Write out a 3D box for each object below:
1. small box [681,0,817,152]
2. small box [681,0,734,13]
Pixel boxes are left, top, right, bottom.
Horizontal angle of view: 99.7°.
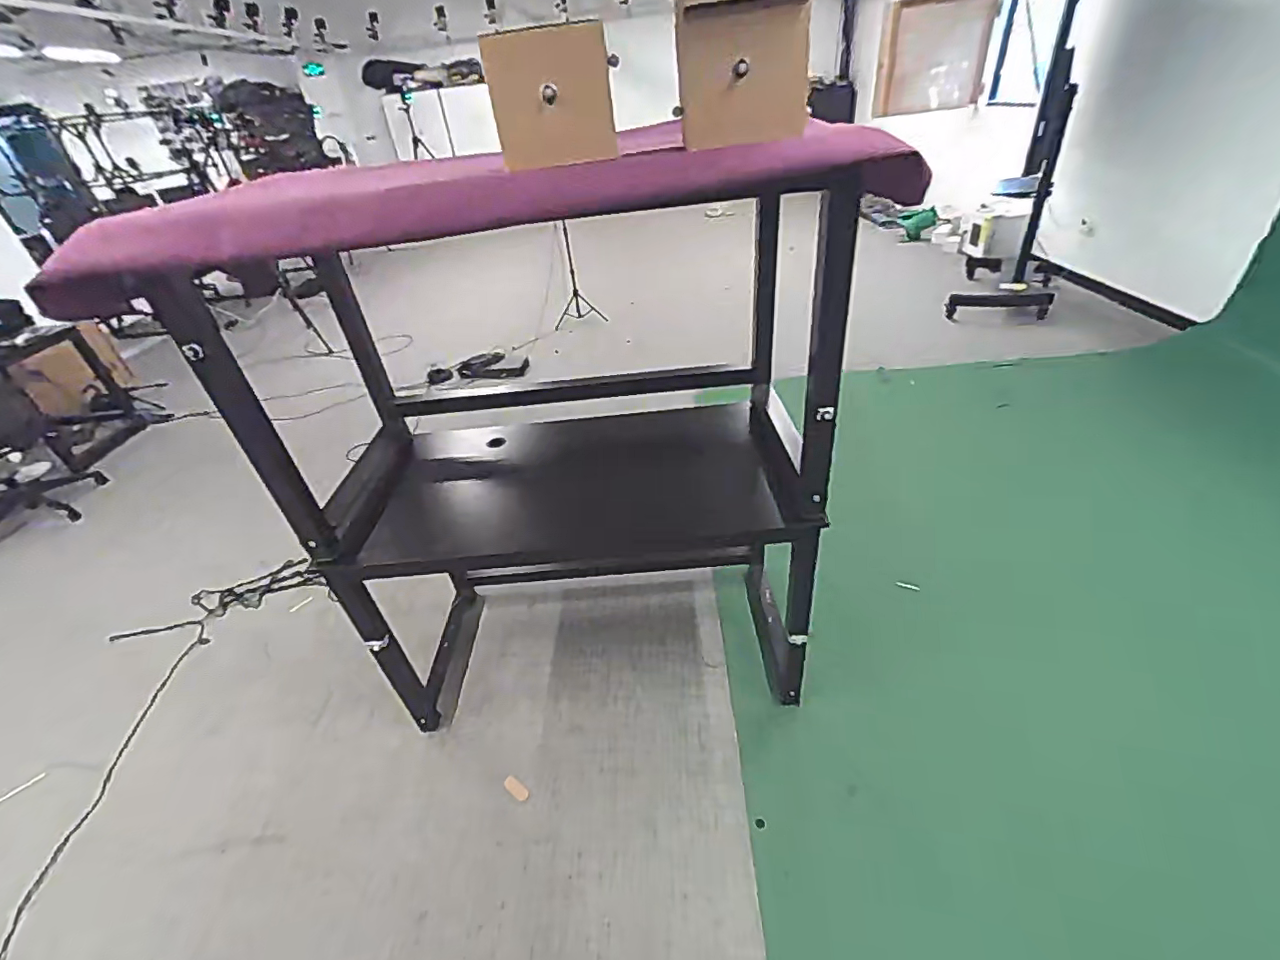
[{"bbox_3d":[0.157,-0.616,0.824,0.179,0.176,0.168,-6,35,5],"label":"small box"},{"bbox_3d":[0.141,-0.737,0.711,0.179,0.176,0.168,-6,35,4],"label":"small box"}]
